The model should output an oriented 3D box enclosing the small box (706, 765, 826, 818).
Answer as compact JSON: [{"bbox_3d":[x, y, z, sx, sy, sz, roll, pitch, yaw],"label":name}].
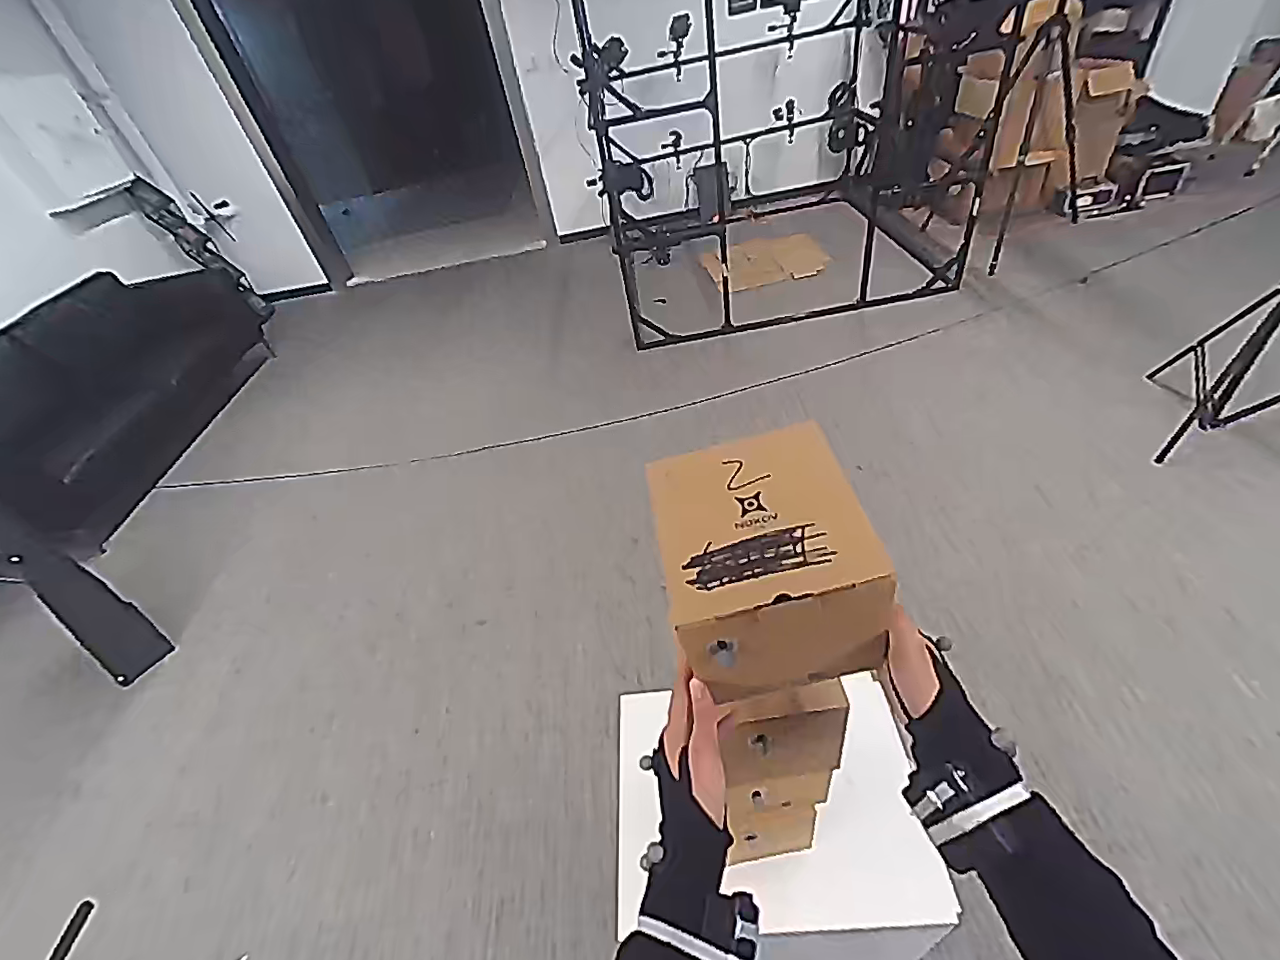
[{"bbox_3d":[0.167,0.372,0.795,0.168,0.176,0.179,-12,40,1],"label":"small box"}]

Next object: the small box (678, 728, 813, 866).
[{"bbox_3d":[0.170,0.507,0.890,0.179,0.176,0.168,-12,41,-1],"label":"small box"}]

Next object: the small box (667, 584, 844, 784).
[{"bbox_3d":[0.139,0.258,0.678,0.179,0.176,0.168,-10,41,3],"label":"small box"}]
